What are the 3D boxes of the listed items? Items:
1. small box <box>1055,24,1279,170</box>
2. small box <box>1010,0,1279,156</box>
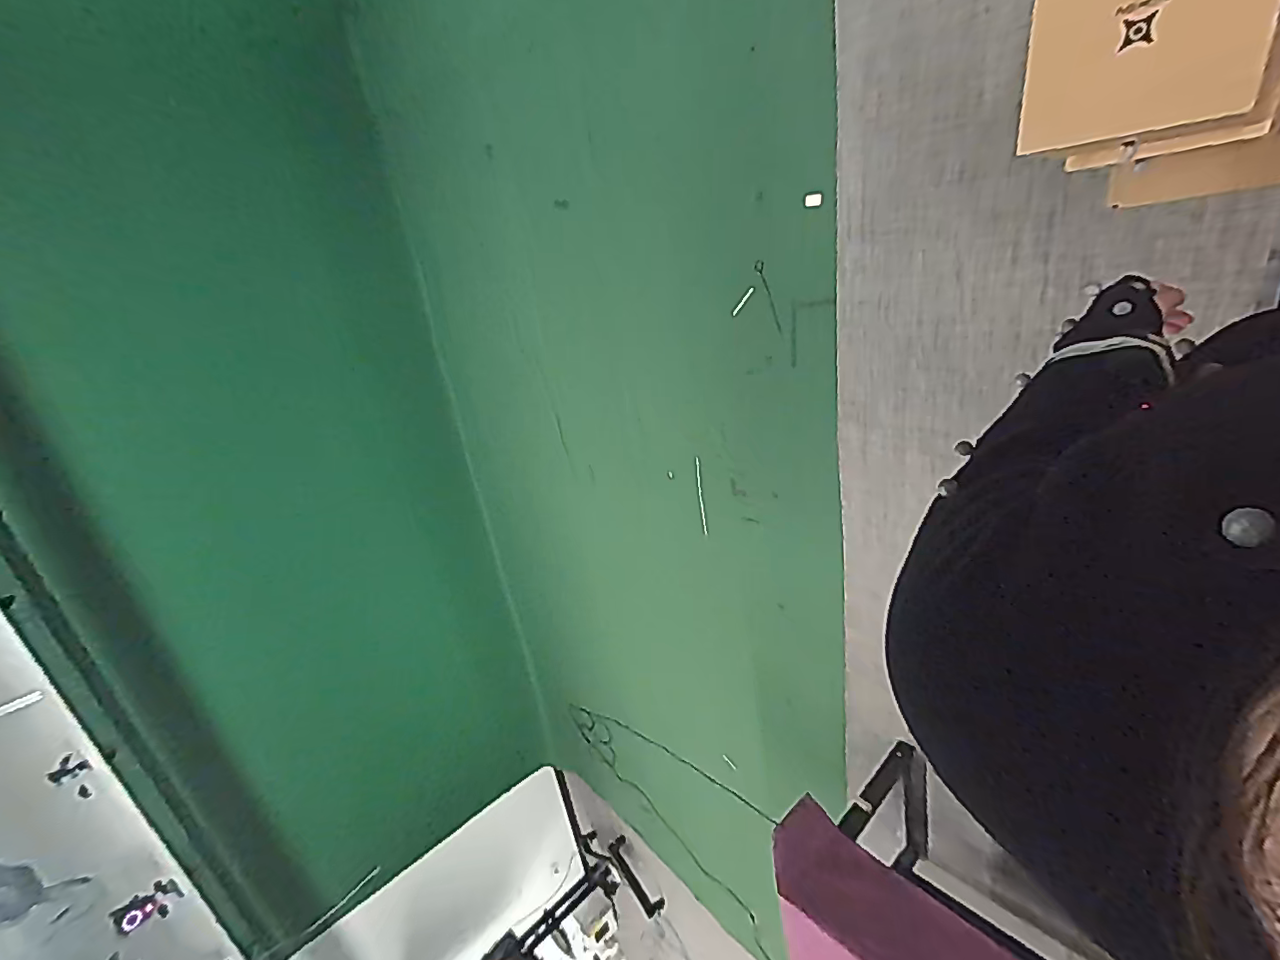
[{"bbox_3d":[0.607,-0.468,0.613,0.168,0.176,0.179,17,123,46],"label":"small box"},{"bbox_3d":[0.484,-0.423,0.512,0.168,0.176,0.179,18,124,44],"label":"small box"}]
